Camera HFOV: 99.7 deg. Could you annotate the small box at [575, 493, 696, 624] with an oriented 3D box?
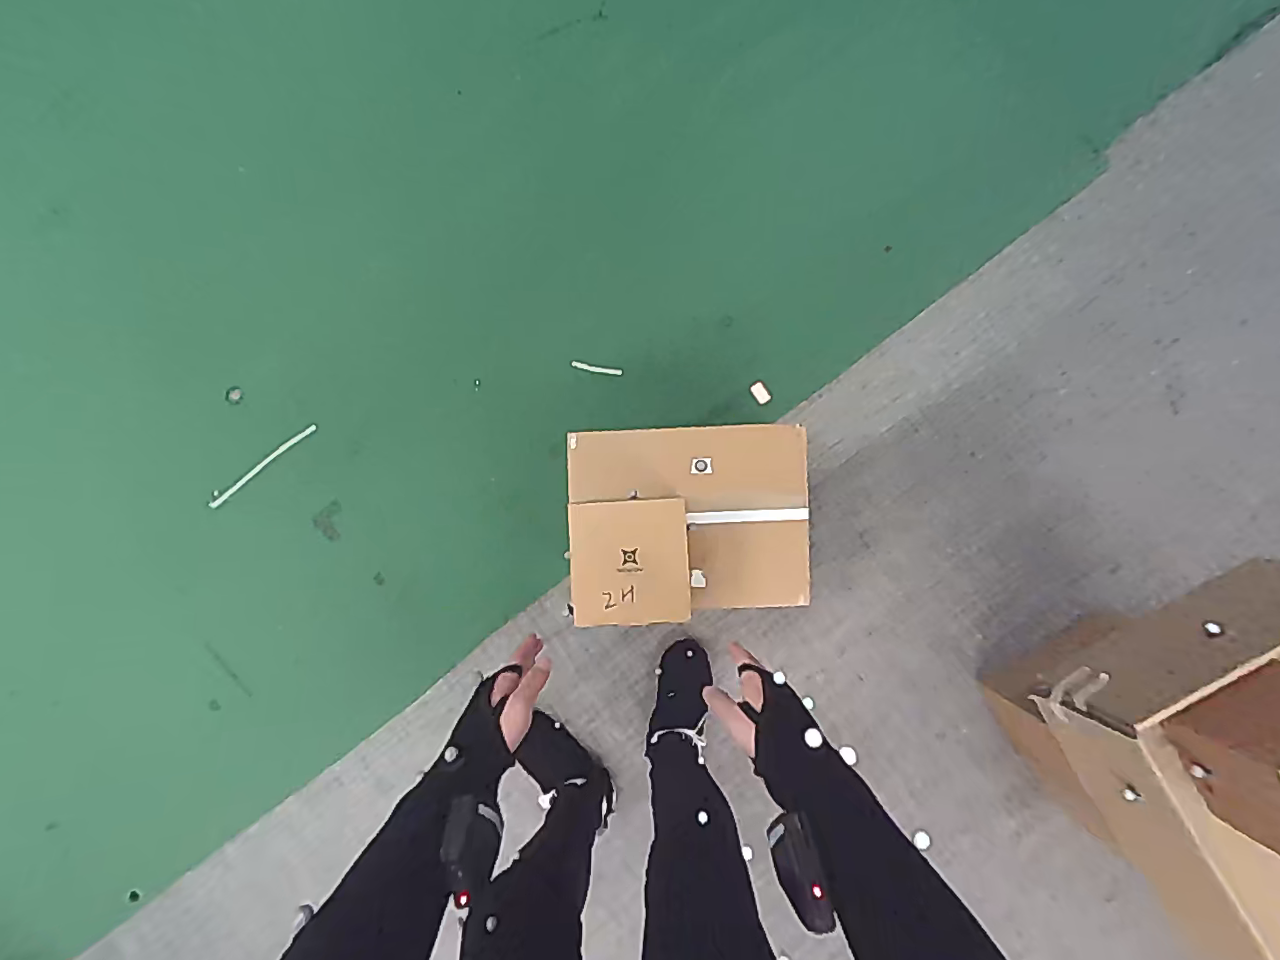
[{"bbox_3d":[-0.004,0.111,0.824,0.168,0.176,0.179,-3,90,3],"label":"small box"}]
